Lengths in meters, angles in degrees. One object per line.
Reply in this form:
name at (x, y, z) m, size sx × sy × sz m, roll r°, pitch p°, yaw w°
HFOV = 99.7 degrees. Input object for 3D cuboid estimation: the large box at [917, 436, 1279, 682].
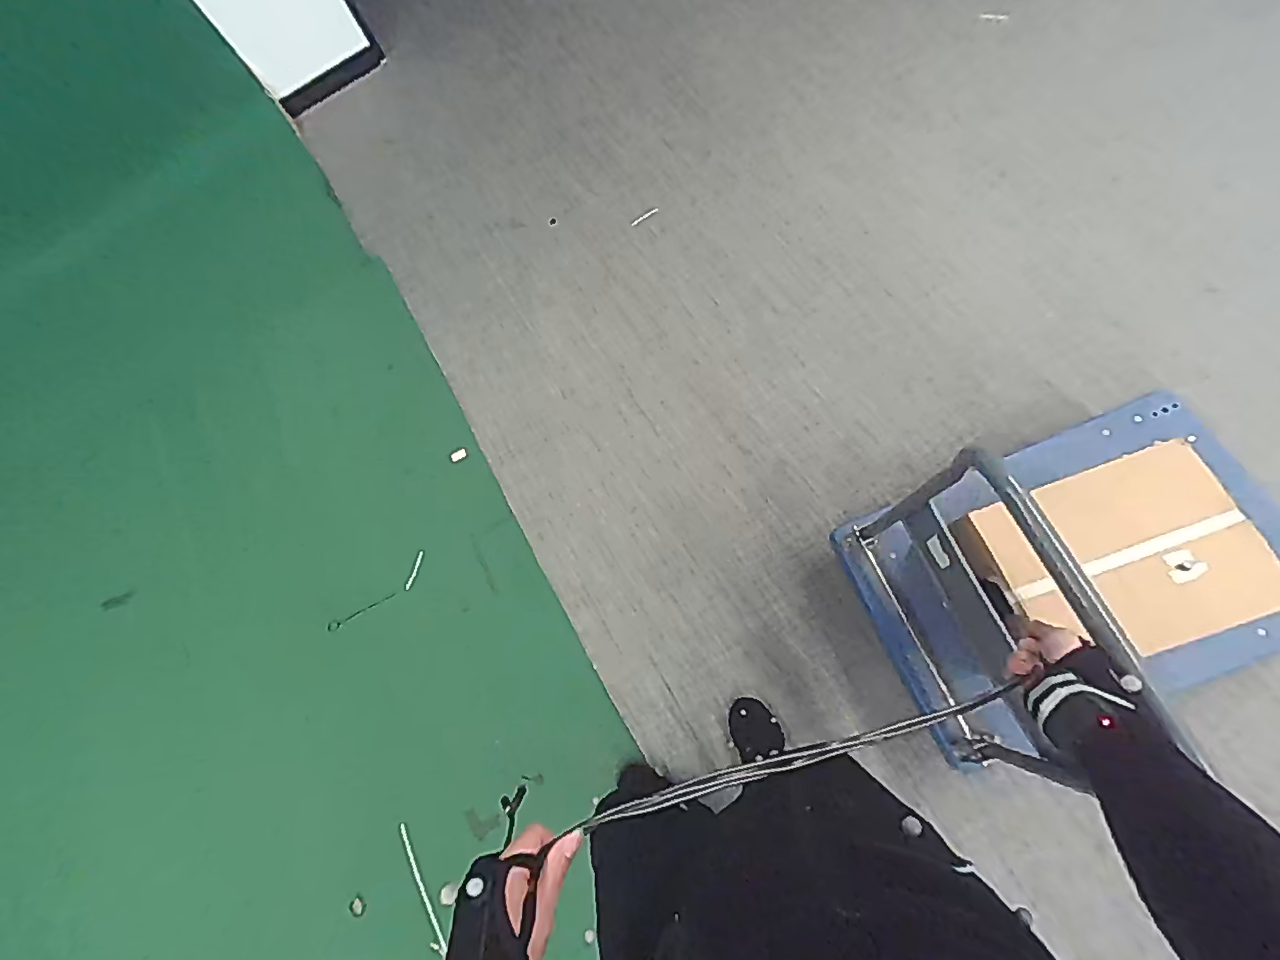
large box at (0.850, 0.170, 1.062) m, size 0.408 × 0.320 × 0.320 m, roll -20°, pitch 72°, yaw 2°
